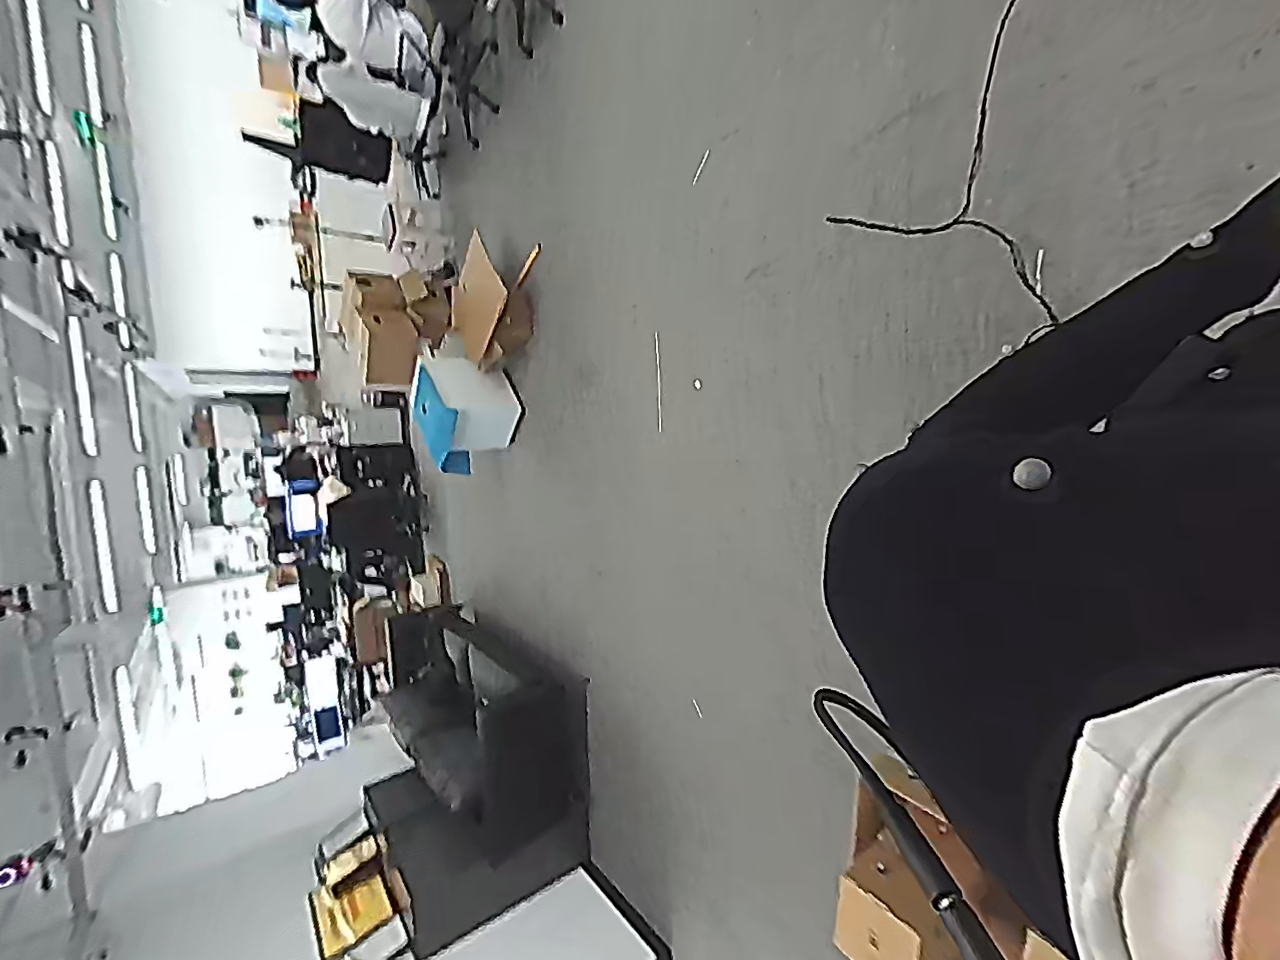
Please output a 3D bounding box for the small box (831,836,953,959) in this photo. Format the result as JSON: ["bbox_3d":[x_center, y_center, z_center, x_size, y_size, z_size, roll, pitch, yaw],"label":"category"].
[{"bbox_3d":[0.522,0.893,1.119,0.168,0.176,0.179,15,106,52],"label":"small box"}]
